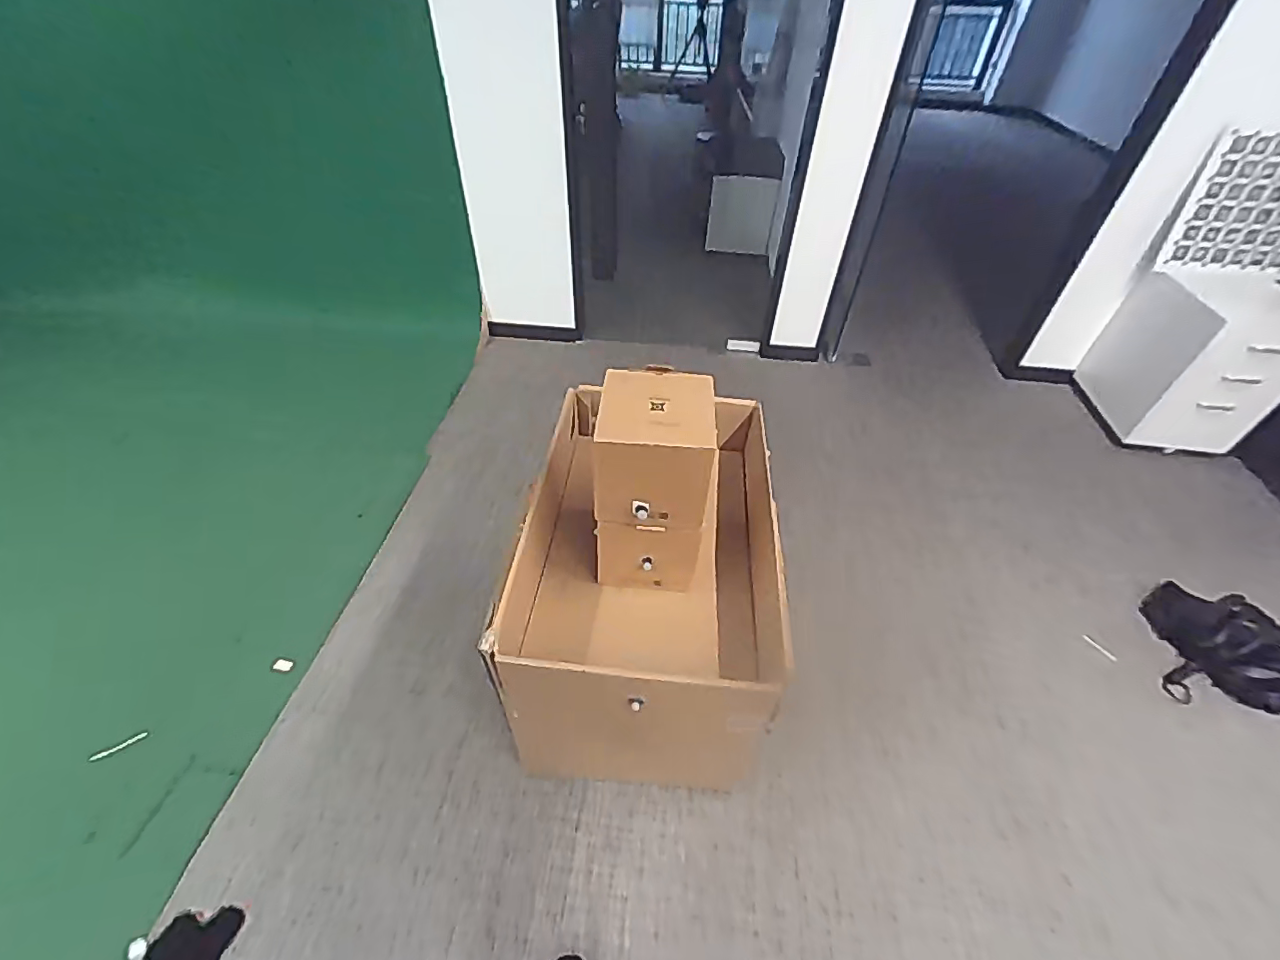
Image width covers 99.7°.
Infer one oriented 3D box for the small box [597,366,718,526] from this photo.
[{"bbox_3d":[0.025,-0.052,0.829,0.168,0.176,0.179,3,45,1],"label":"small box"}]
